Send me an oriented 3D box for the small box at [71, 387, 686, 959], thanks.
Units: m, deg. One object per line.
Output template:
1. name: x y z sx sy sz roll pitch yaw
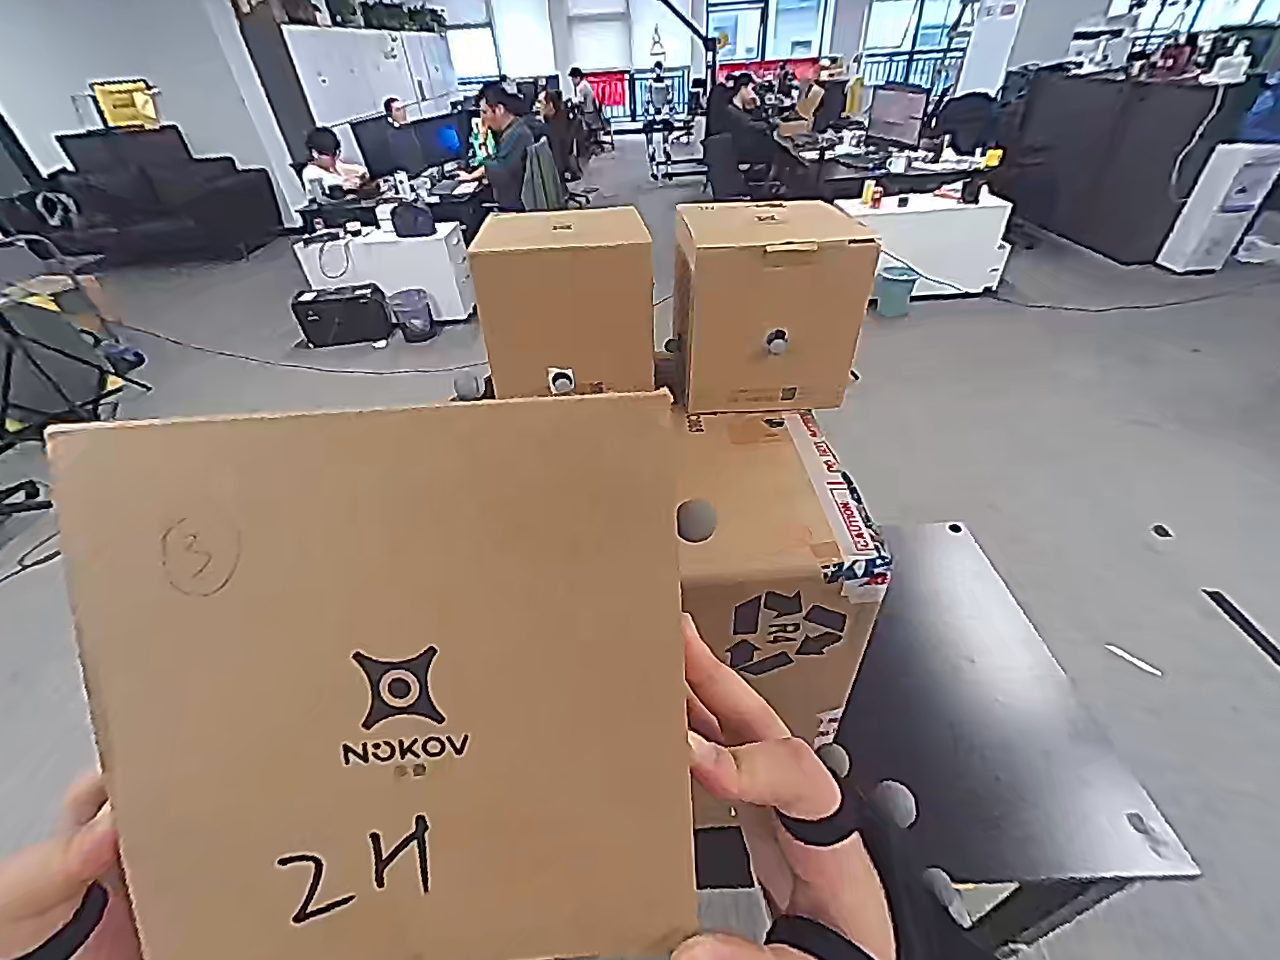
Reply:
1. small box: -0.073 0.055 0.241 0.168 0.179 0.176 -4 8 -1

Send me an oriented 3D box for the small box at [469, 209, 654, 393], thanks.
1. small box: -0.076 -0.186 0.595 0.168 0.176 0.179 -6 37 -4
